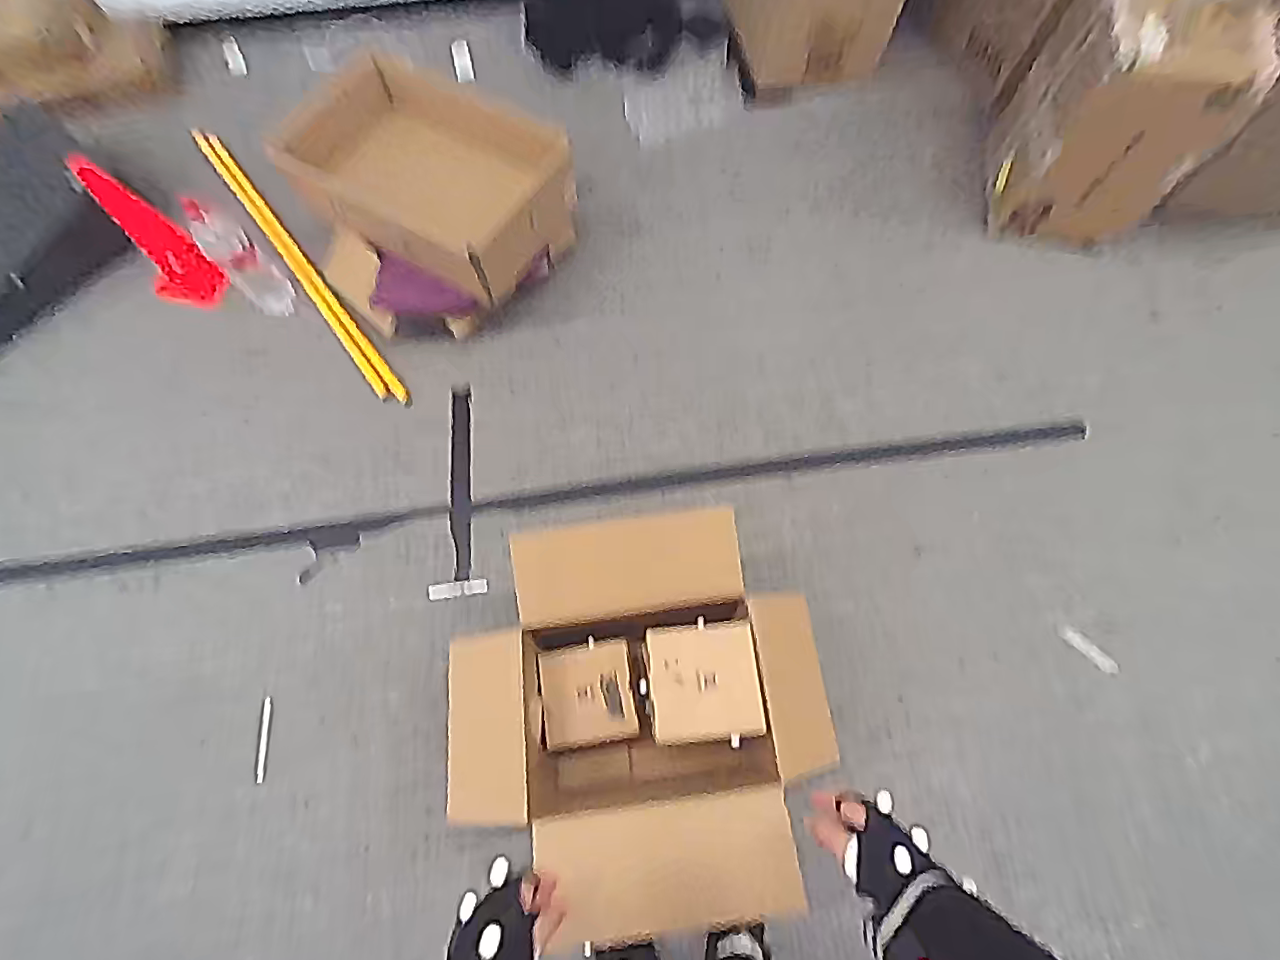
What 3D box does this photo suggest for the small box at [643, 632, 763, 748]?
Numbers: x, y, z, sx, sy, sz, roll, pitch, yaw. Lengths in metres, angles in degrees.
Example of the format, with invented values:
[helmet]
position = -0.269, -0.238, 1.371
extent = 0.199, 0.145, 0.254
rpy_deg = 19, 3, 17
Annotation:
[small box]
position = 0.099, 0.362, 0.941
extent = 0.179, 0.176, 0.168
rpy_deg = -5, 68, -2
